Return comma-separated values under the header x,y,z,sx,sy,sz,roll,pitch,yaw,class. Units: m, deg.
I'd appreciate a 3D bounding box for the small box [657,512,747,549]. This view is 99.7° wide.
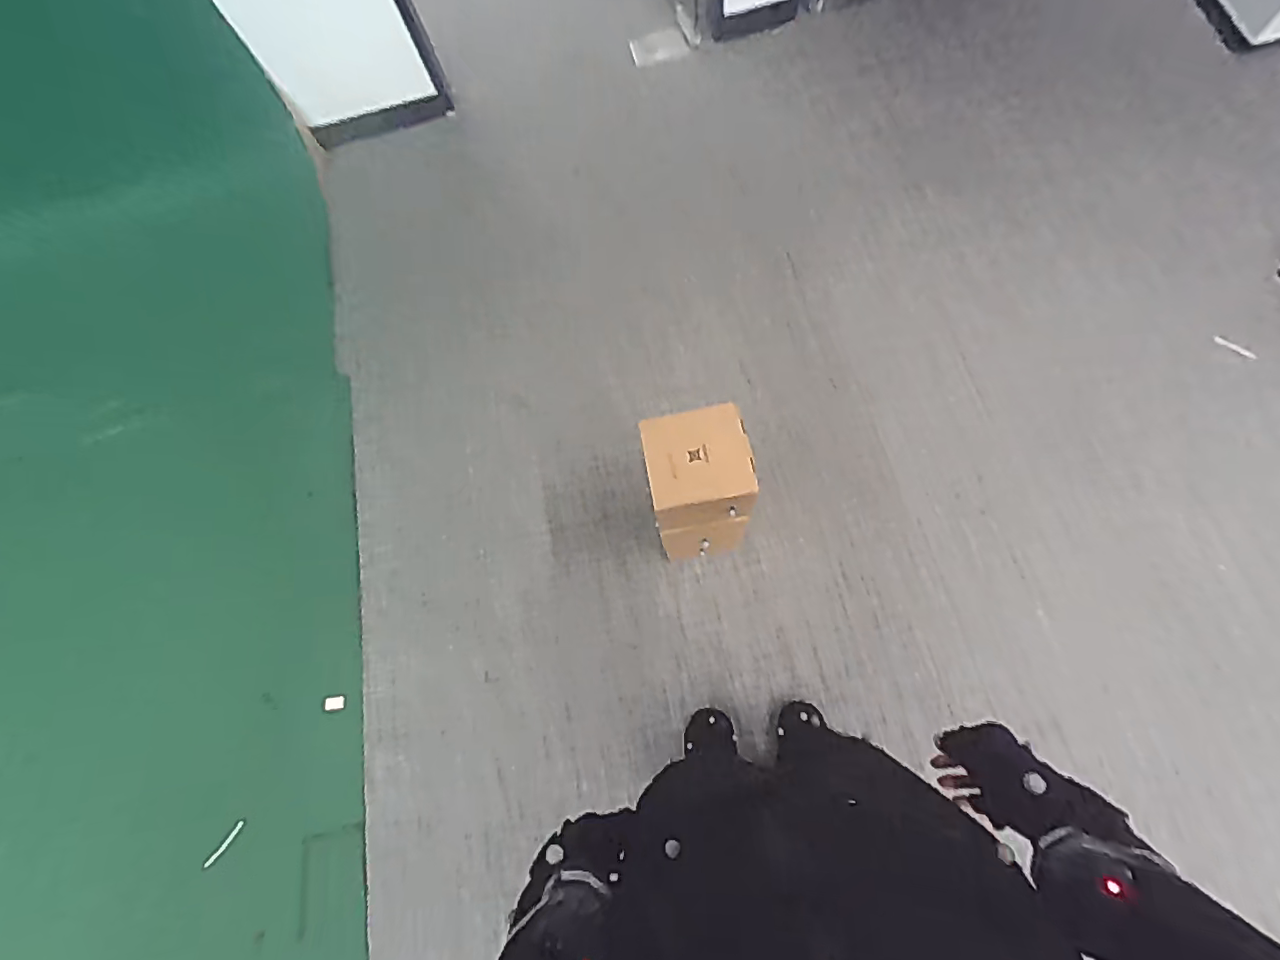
x,y,z,sx,sy,sz,roll,pitch,yaw,class
0.116,0.041,1.137,0.179,0.176,0.168,-10,72,3,small box

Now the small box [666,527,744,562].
x,y,z,sx,sy,sz,roll,pitch,yaw,class
0.136,0.090,1.291,0.179,0.176,0.168,-14,72,1,small box

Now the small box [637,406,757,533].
x,y,z,sx,sy,sz,roll,pitch,yaw,class
0.101,-0.012,0.984,0.179,0.176,0.168,-12,71,3,small box
